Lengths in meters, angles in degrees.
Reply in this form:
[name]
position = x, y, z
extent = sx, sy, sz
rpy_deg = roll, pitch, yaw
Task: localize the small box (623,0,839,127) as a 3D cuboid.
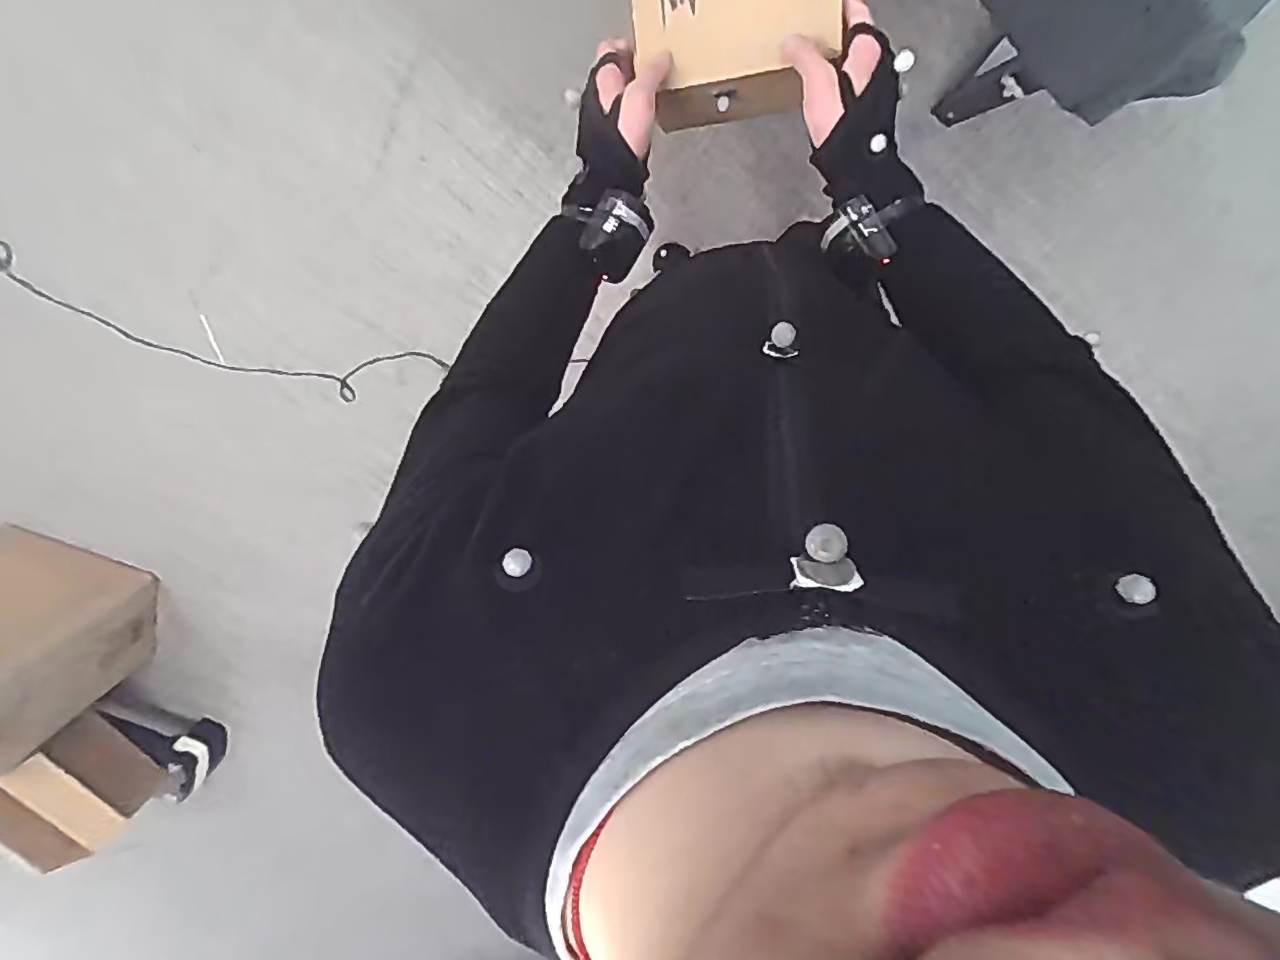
[small box]
position = 0.082, -0.449, 0.502
extent = 0.179, 0.176, 0.168
rpy_deg = -3, 112, 11
